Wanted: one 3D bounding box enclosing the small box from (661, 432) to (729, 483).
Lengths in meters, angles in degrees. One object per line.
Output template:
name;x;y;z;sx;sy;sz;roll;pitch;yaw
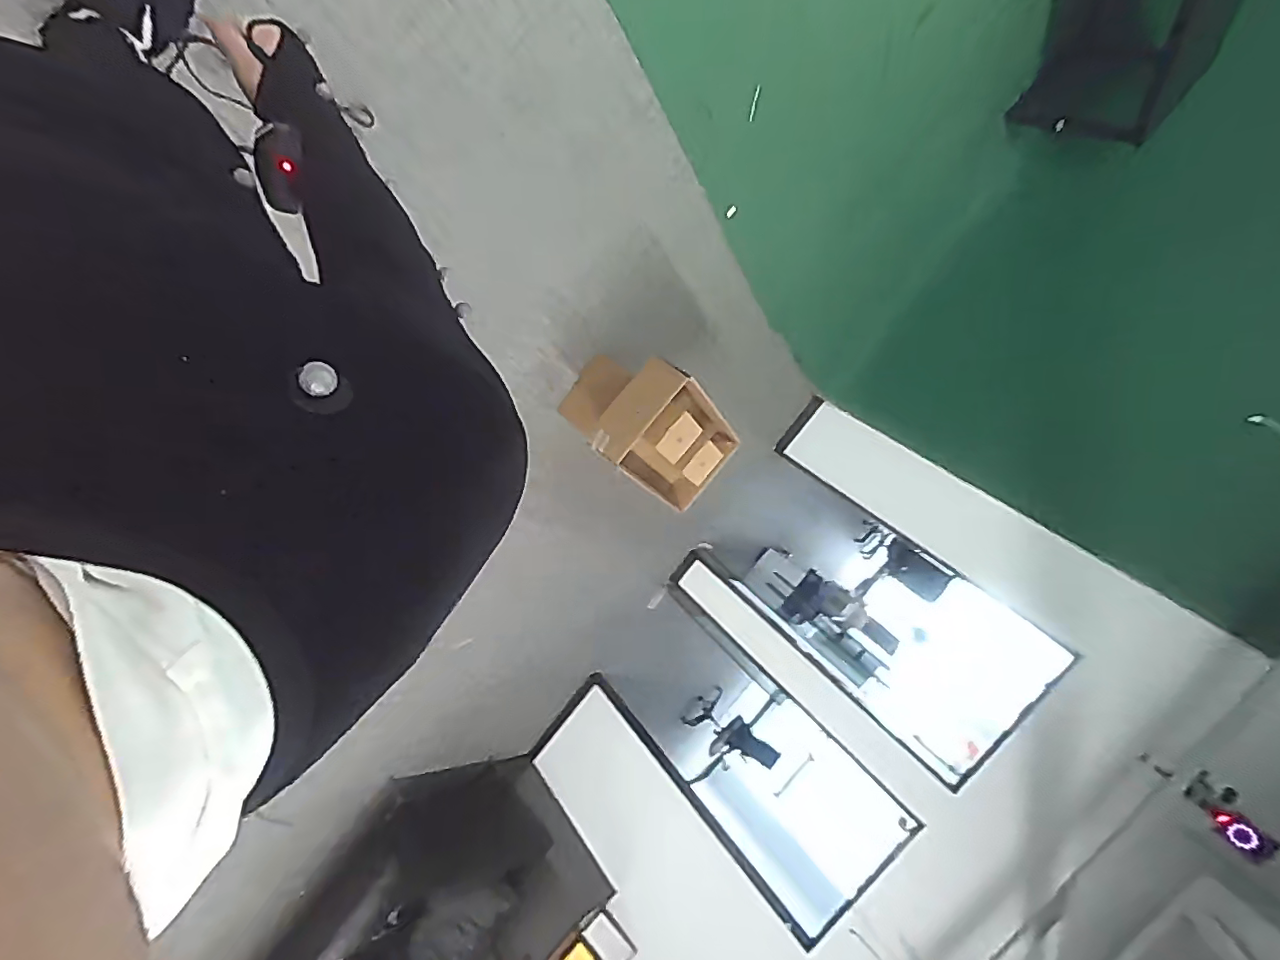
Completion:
small box;0.216;-0.119;2.144;0.168;0.176;0.179;-50;146;4

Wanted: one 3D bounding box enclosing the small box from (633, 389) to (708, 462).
small box;0.107;-0.198;1.927;0.168;0.176;0.179;-50;148;2
